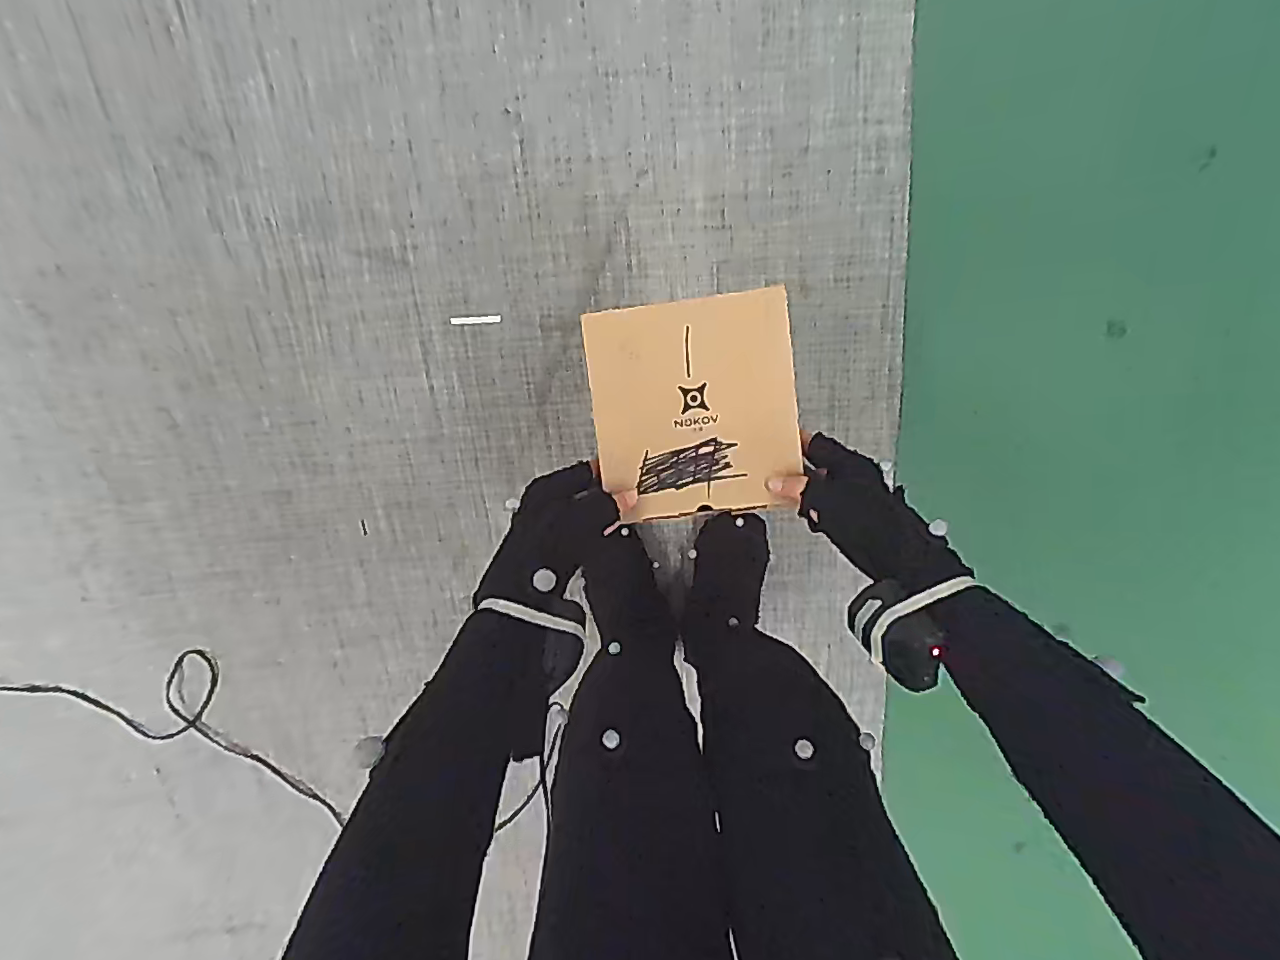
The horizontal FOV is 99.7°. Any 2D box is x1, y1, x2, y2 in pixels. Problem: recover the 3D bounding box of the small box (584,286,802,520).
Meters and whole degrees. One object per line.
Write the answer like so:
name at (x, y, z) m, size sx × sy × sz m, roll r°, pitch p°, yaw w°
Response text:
small box at (0.051, -0.069, 0.518) m, size 0.168 × 0.176 × 0.179 m, roll -6°, pitch 96°, yaw 5°
